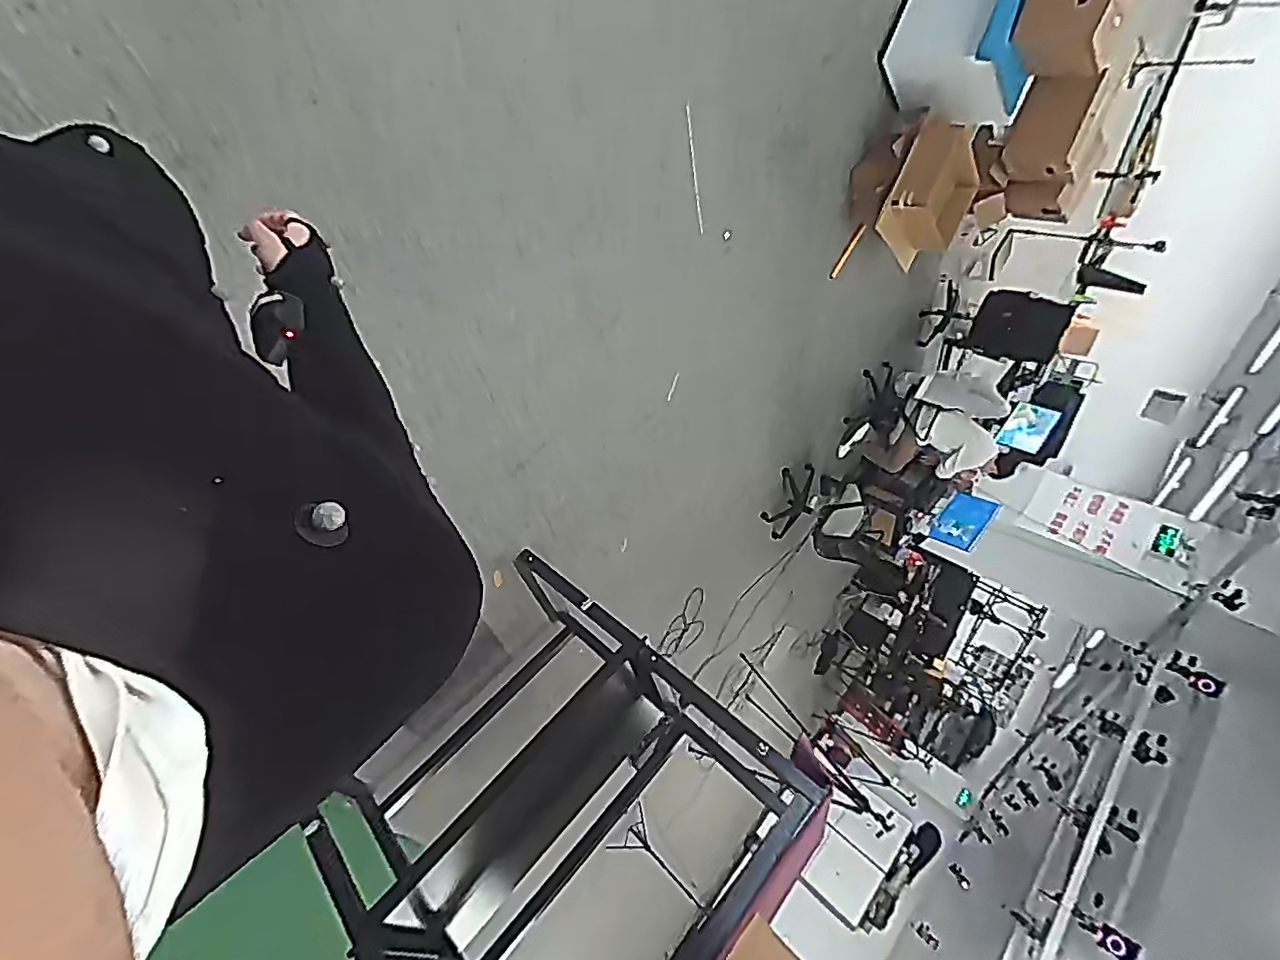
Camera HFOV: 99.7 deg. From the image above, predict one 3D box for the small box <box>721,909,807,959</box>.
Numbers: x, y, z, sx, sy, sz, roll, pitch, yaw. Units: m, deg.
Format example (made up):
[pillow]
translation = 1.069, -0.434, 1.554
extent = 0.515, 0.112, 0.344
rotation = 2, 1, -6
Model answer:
[small box]
translation = 0.310, 1.247, 1.377
extent = 0.179, 0.176, 0.168
rotation = -39, 140, -26
